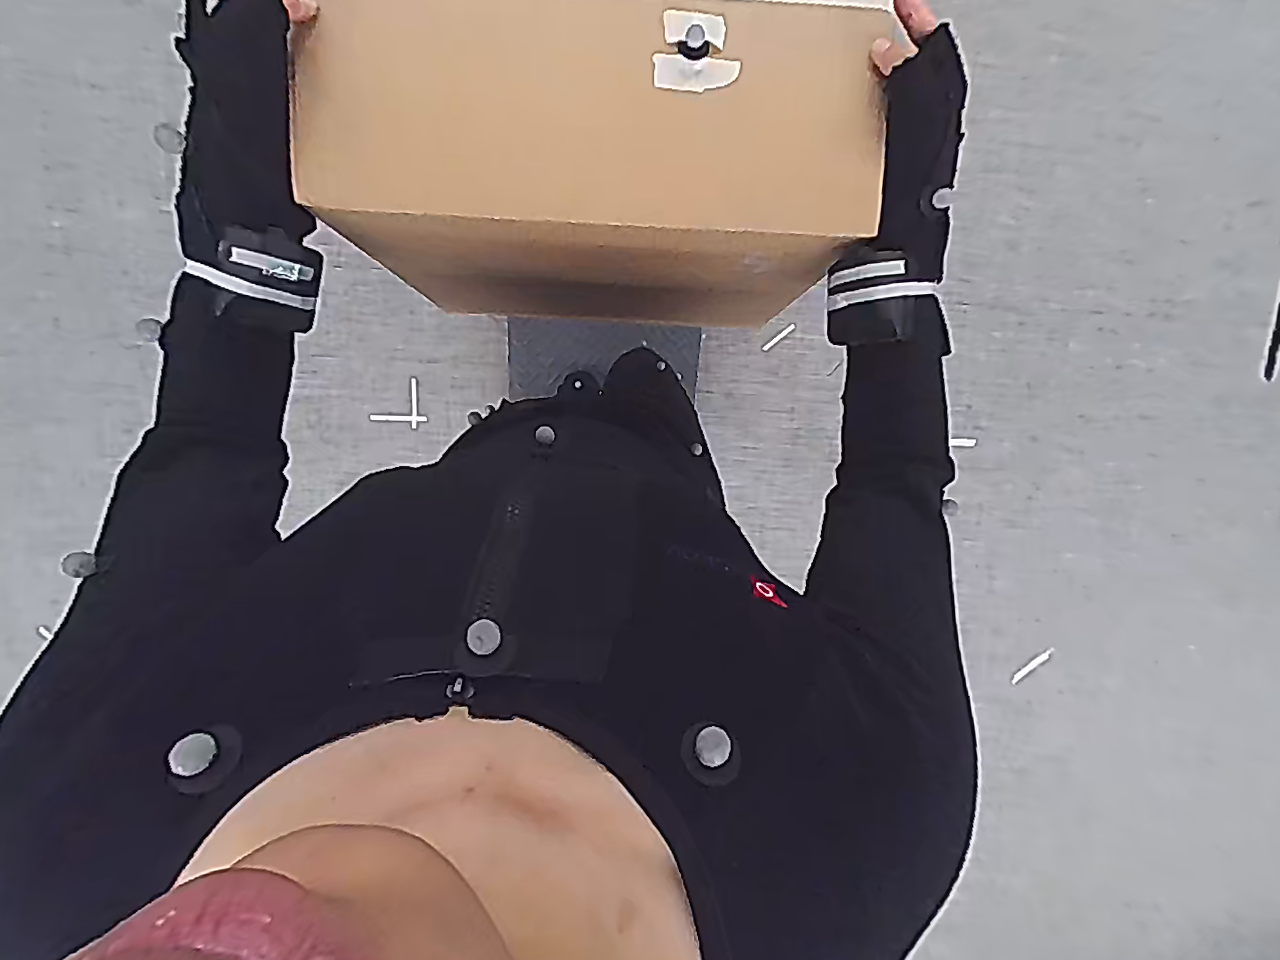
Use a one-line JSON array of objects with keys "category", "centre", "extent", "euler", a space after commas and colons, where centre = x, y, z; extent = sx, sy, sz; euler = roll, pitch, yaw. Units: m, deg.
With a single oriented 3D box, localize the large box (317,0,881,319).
[{"category": "large box", "centre": [-0.032, -0.352, 0.529], "extent": [0.408, 0.320, 0.320], "euler": [2, 94, -3]}]
